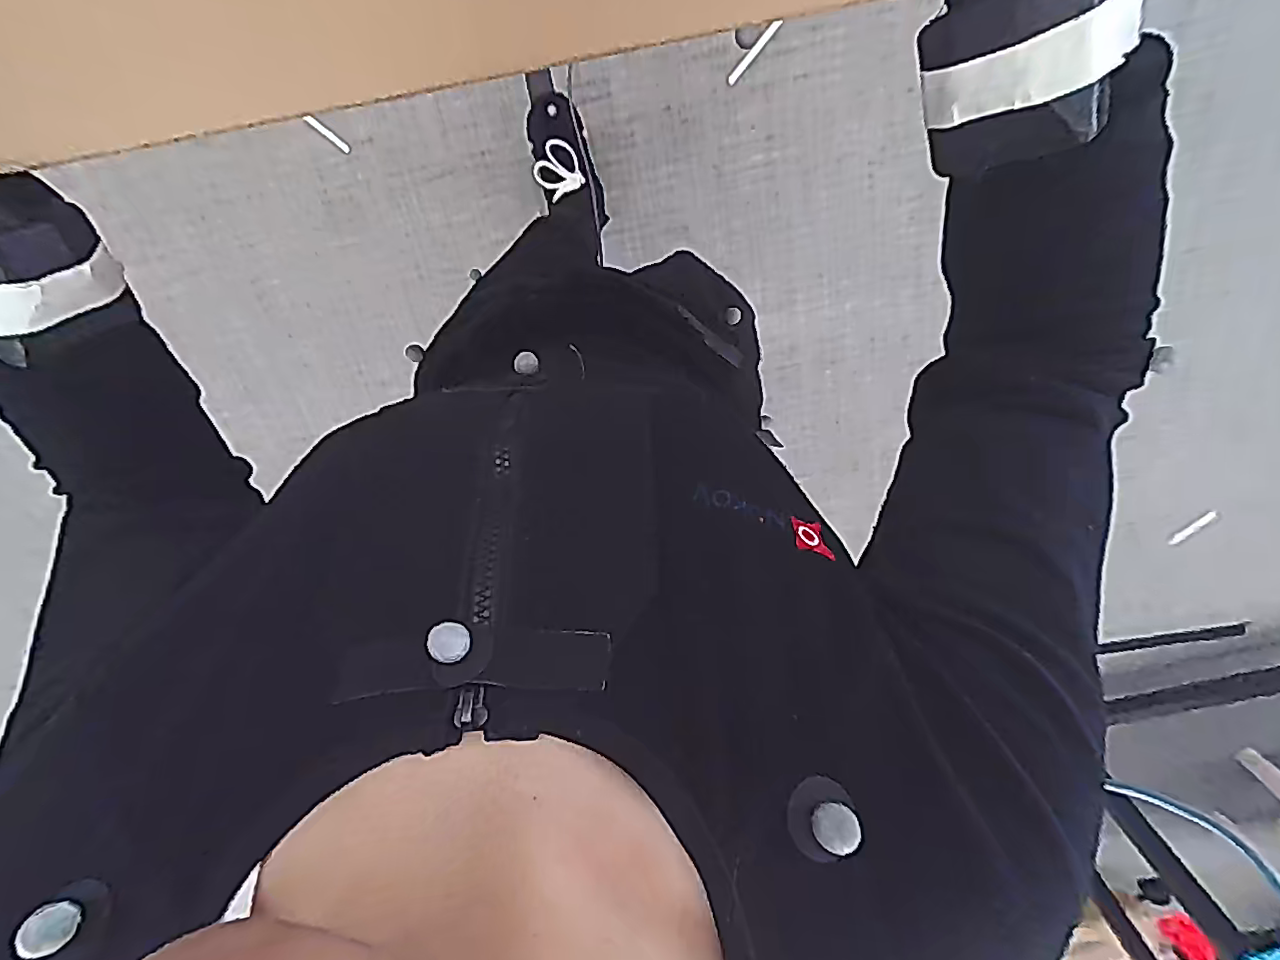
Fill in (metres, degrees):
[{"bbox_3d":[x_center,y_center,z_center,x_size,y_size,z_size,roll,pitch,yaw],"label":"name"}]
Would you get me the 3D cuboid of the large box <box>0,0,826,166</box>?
[{"bbox_3d":[-0.111,-0.377,0.211,0.408,0.320,0.320,-9,136,2],"label":"large box"}]
